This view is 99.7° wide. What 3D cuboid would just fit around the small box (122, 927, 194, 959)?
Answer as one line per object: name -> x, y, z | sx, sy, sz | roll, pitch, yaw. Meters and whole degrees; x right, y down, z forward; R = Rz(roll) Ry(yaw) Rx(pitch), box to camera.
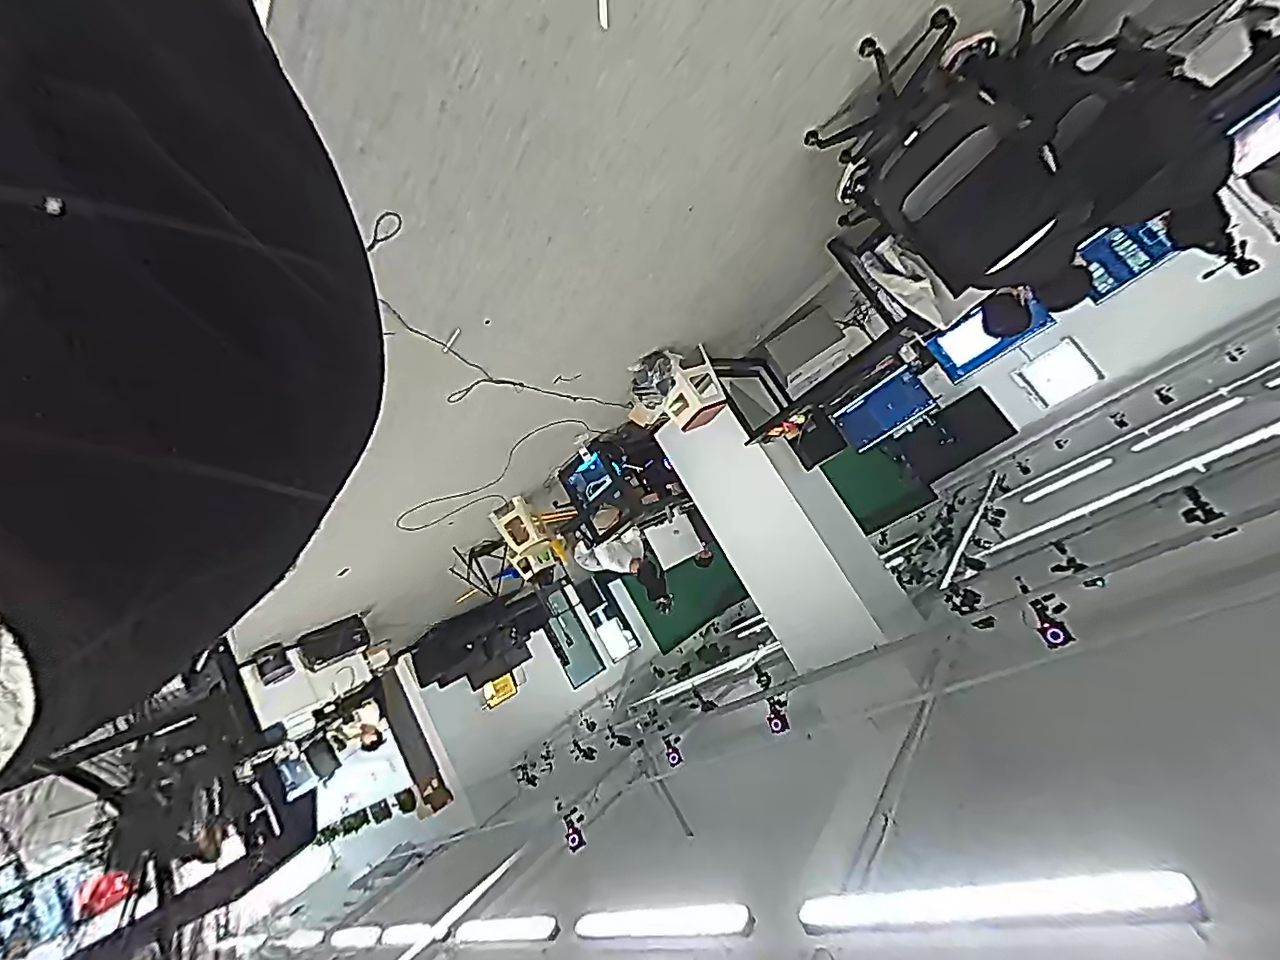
small box -> -1.284, 1.313, 1.408 | 0.179, 0.176, 0.168 | -37, 167, 33
